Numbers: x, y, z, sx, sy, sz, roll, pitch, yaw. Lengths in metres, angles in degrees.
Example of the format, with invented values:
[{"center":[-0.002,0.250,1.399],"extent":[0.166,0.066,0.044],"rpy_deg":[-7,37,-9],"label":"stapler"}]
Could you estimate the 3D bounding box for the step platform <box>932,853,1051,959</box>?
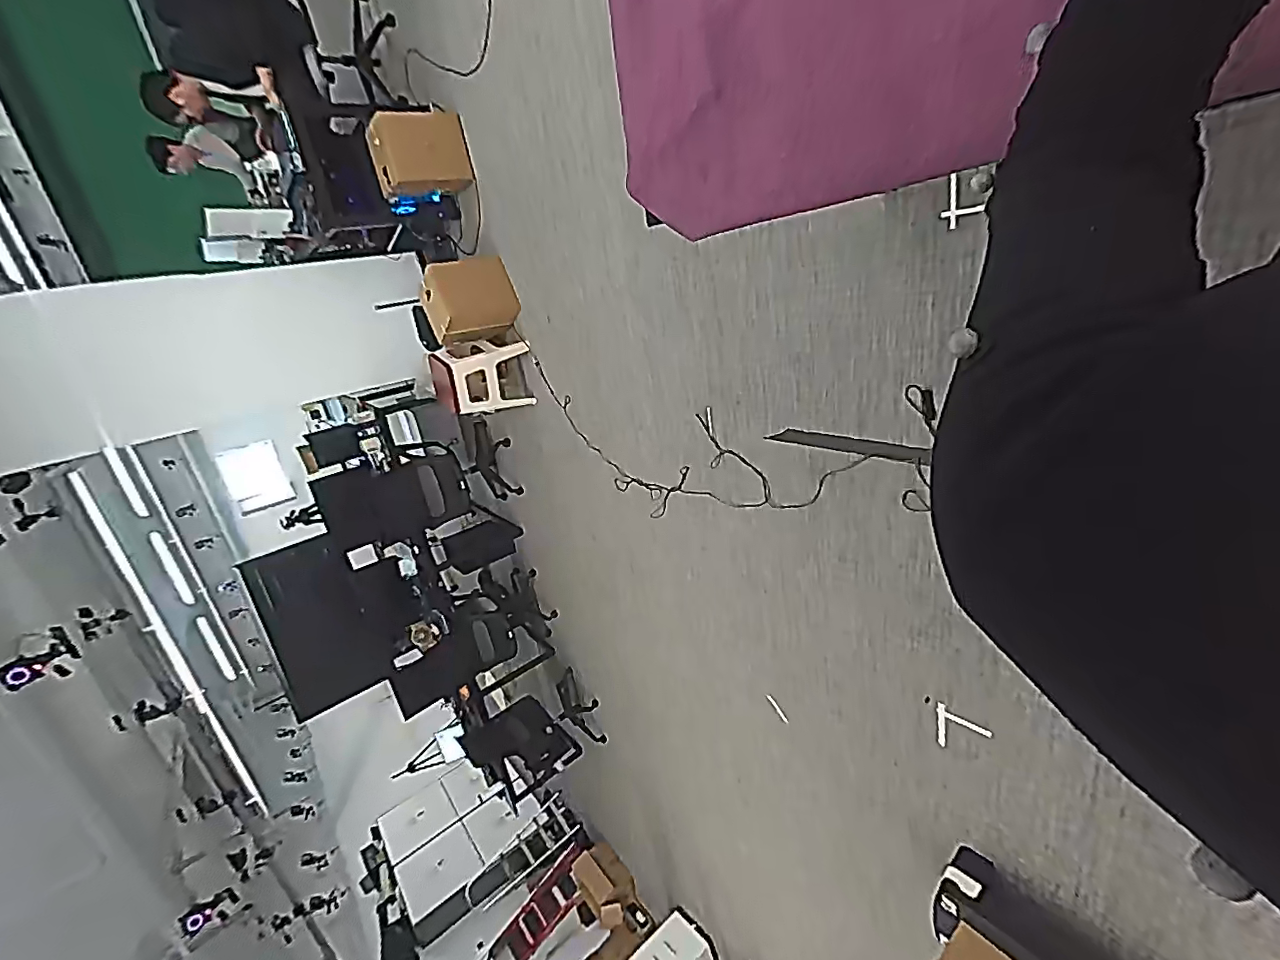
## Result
[{"center":[1.247,1.488,1.601],"extent":[0.684,0.204,0.286],"rpy_deg":[16,123,50],"label":"step platform"}]
